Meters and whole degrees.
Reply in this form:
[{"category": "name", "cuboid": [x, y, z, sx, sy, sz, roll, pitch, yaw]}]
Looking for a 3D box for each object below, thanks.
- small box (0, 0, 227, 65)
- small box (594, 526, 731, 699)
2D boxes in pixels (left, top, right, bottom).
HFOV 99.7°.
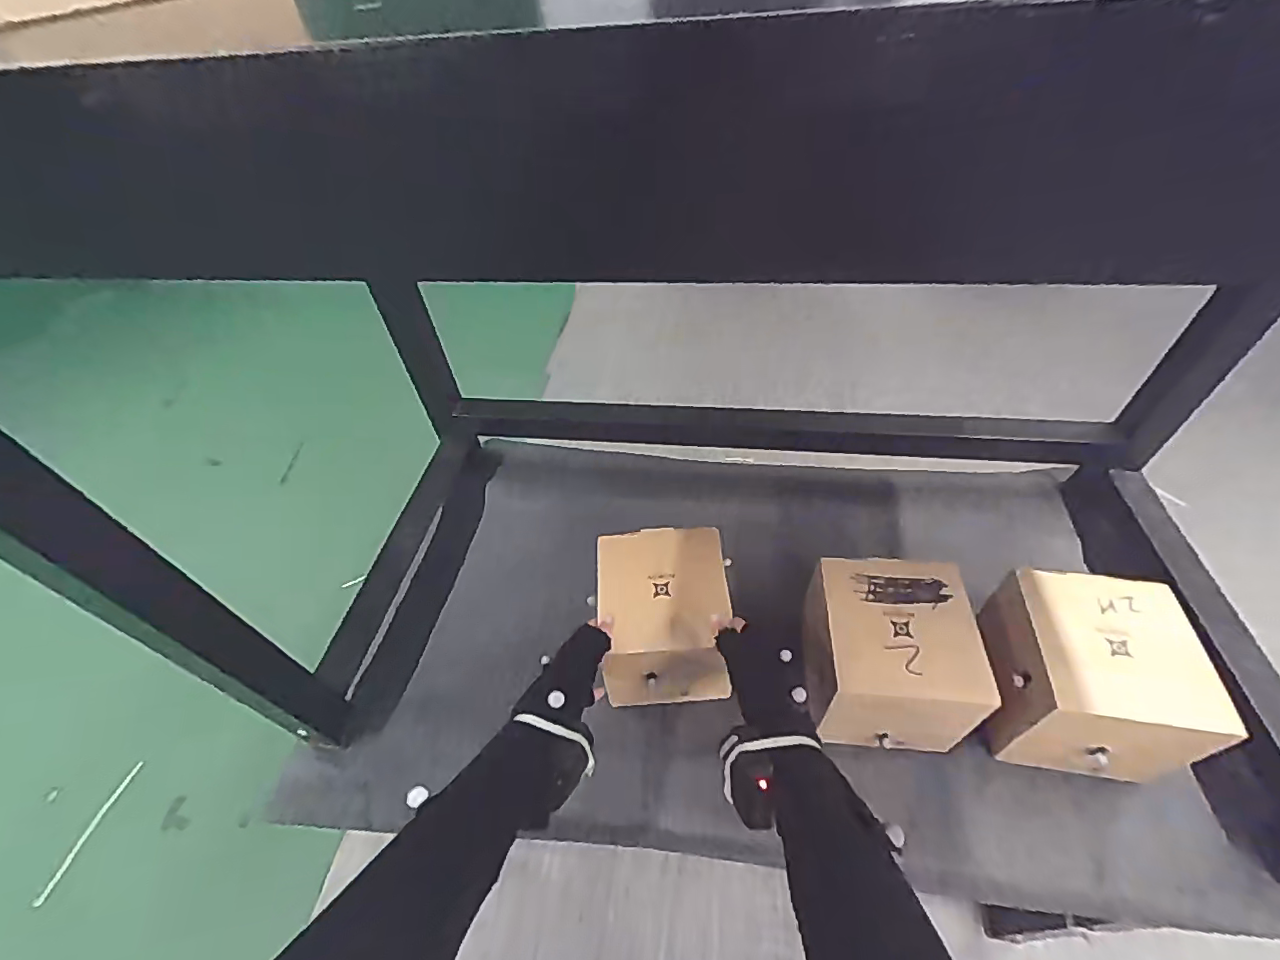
[{"category": "small box", "cuboid": [-0.300, -0.279, 0.205, 0.168, 0.176, 0.179, 4, 49, 9]}, {"category": "small box", "cuboid": [0.030, 0.186, 0.742, 0.168, 0.176, 0.179, -5, 47, 1]}]
